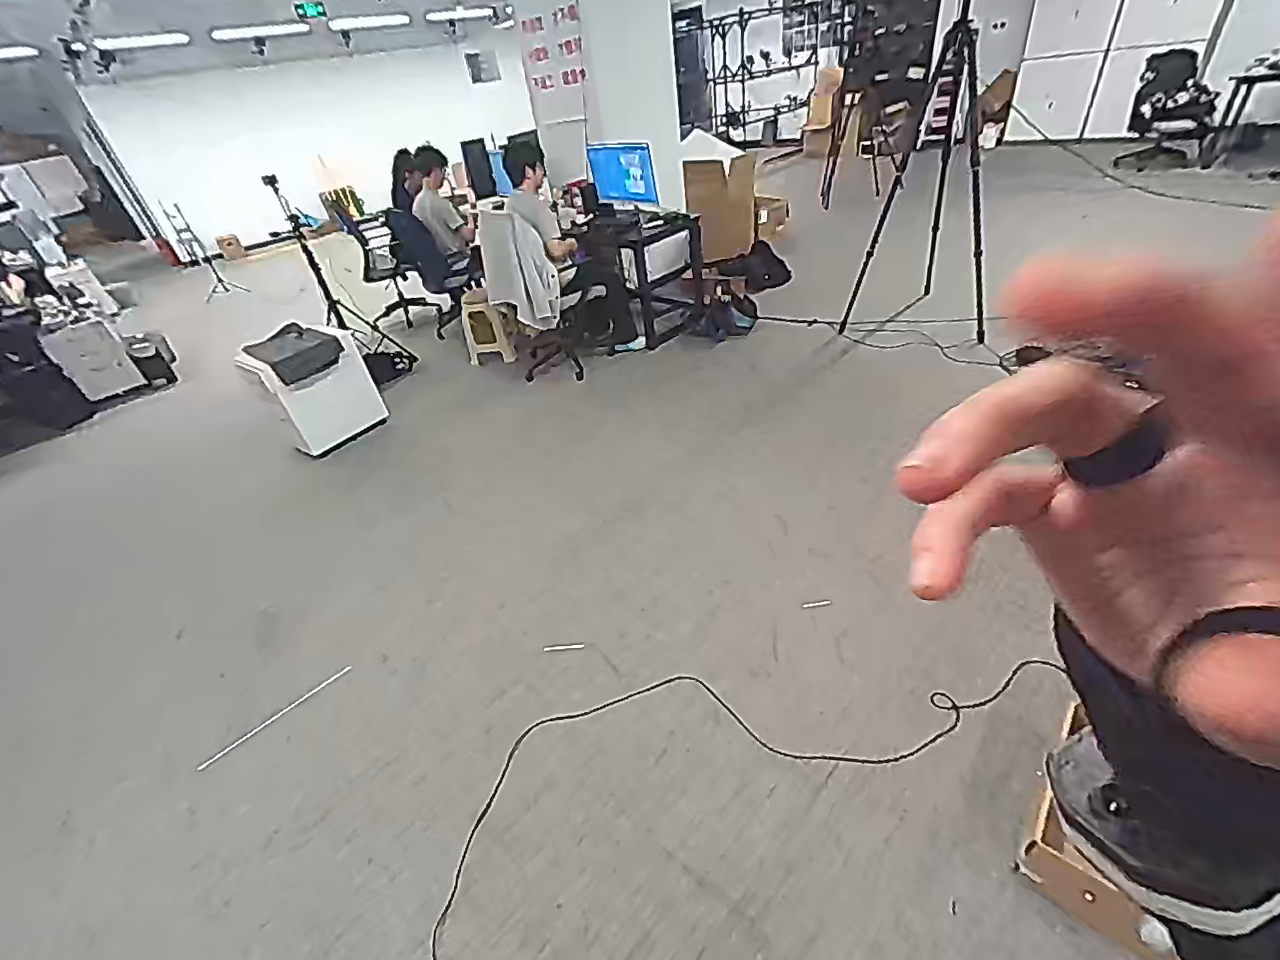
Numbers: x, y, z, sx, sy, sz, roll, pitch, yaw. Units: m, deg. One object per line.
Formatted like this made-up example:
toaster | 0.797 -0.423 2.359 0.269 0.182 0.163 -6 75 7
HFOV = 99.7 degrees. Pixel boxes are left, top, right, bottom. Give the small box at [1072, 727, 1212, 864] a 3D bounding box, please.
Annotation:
small box | 1.089 0.691 1.184 0.179 0.176 0.168 24 50 35
